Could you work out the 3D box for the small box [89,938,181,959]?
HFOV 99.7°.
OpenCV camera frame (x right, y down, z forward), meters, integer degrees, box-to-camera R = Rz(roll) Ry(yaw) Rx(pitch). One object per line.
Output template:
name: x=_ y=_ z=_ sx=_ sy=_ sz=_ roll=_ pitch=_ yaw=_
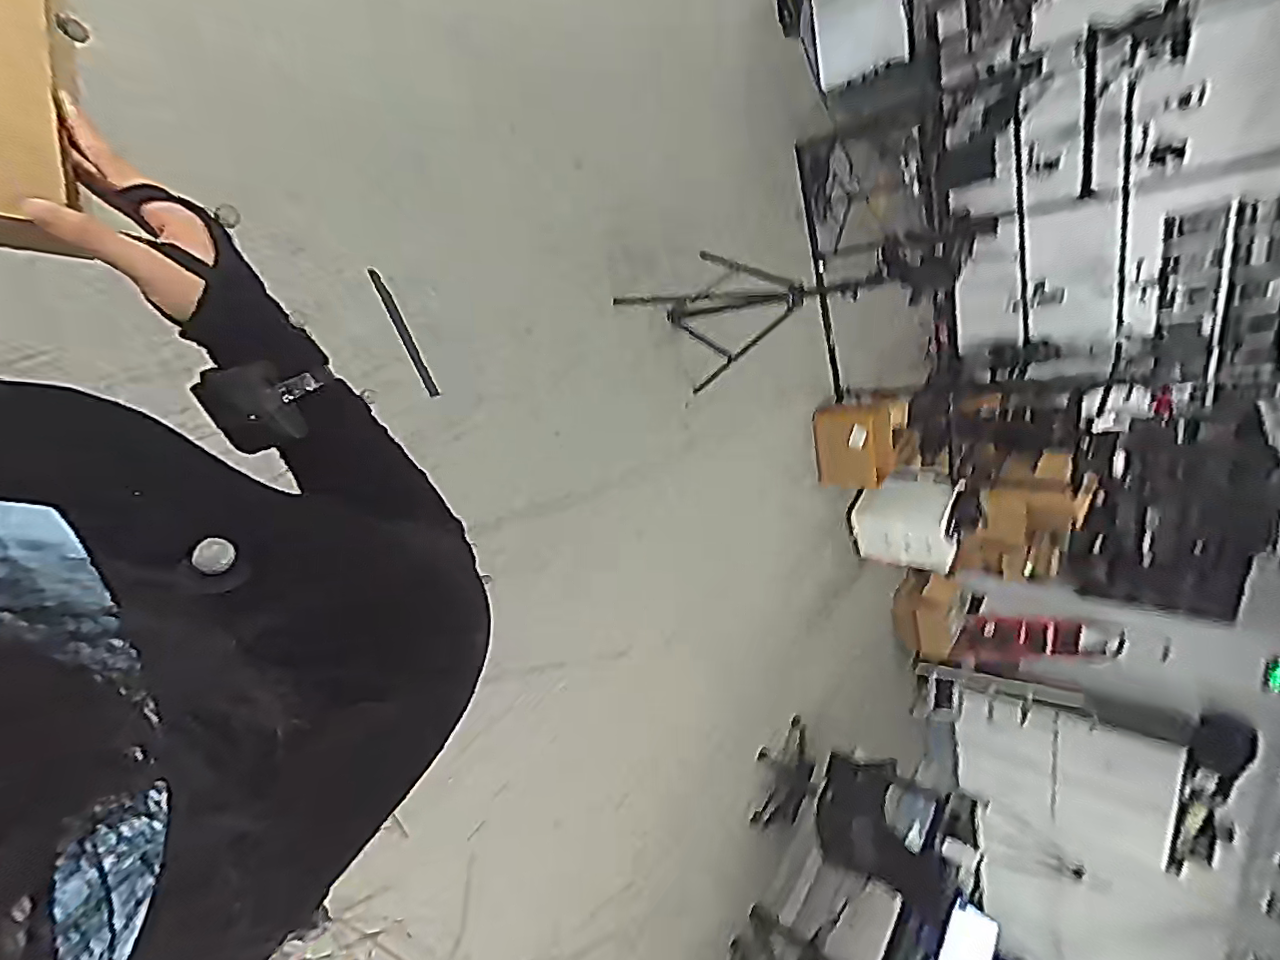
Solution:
small box: x=-1.069 y=1.081 z=1.093 sx=0.168 sy=0.176 sz=0.179 roll=-53 pitch=129 yaw=-29
